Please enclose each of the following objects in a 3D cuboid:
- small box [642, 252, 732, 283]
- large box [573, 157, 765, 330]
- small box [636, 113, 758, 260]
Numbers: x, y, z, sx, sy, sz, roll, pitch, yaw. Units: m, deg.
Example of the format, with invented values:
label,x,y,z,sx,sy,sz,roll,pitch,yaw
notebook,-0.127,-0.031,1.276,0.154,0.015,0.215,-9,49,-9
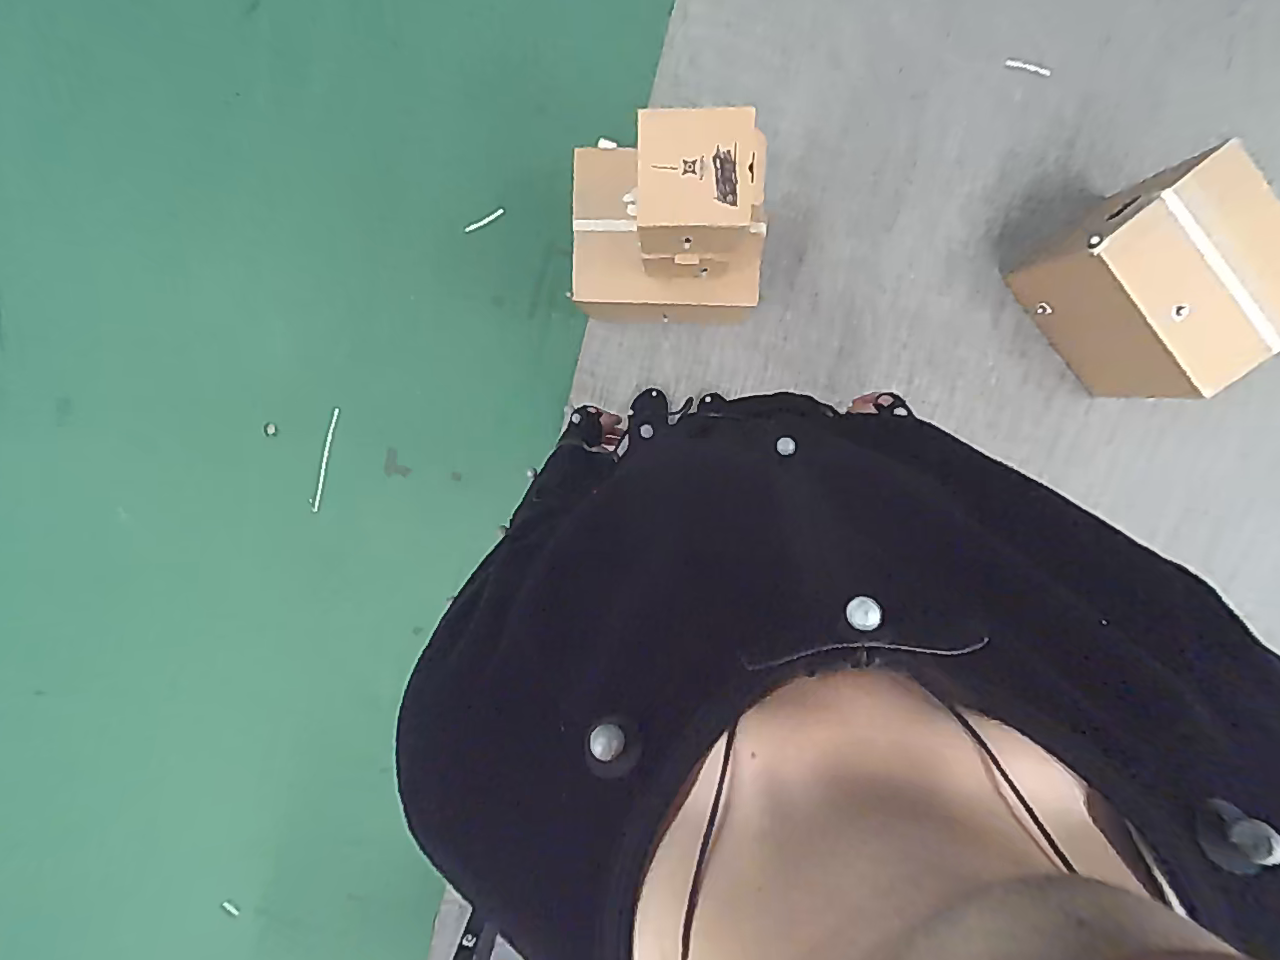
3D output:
label,x,y,z,sx,sy,sz,roll,pitch,yaw
small box,0.095,-0.486,1.043,0.168,0.176,0.179,3,98,3
large box,0.071,-0.533,1.286,0.408,0.320,0.320,3,97,5
small box,0.087,-0.466,0.880,0.179,0.176,0.168,2,98,4
